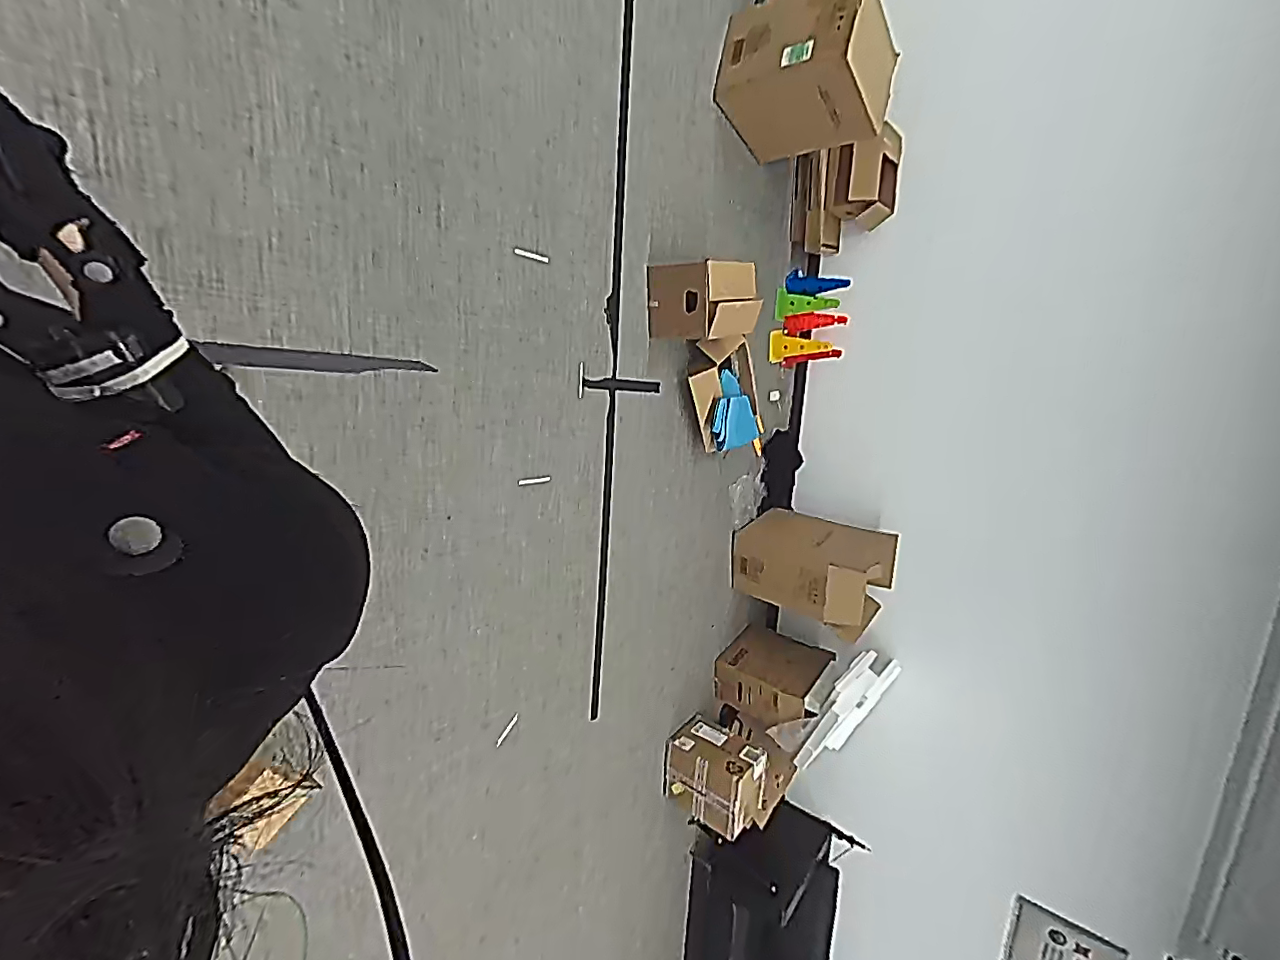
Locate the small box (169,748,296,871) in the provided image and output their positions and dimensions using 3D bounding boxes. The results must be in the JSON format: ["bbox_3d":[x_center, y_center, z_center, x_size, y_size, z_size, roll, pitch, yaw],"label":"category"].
[{"bbox_3d":[-1.016,0.812,1.342,0.179,0.176,0.168,-52,137,-32],"label":"small box"}]
